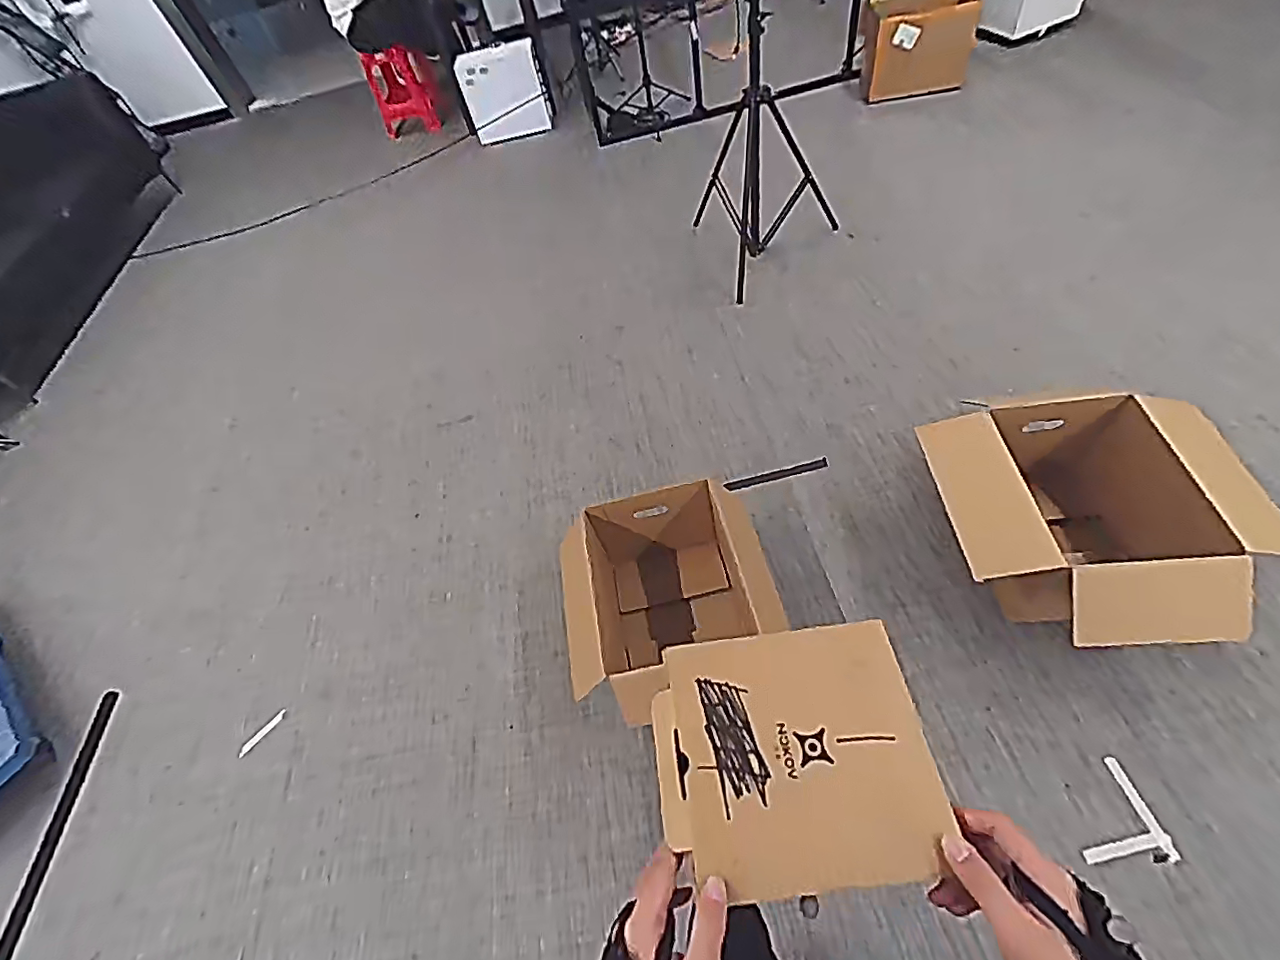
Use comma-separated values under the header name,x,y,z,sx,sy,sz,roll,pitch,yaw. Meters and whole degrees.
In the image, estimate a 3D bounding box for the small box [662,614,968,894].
name,x,y,z,sx,sy,sz,roll,pitch,yaw
small box,0.118,0.228,0.445,0.179,0.176,0.168,-8,56,0
